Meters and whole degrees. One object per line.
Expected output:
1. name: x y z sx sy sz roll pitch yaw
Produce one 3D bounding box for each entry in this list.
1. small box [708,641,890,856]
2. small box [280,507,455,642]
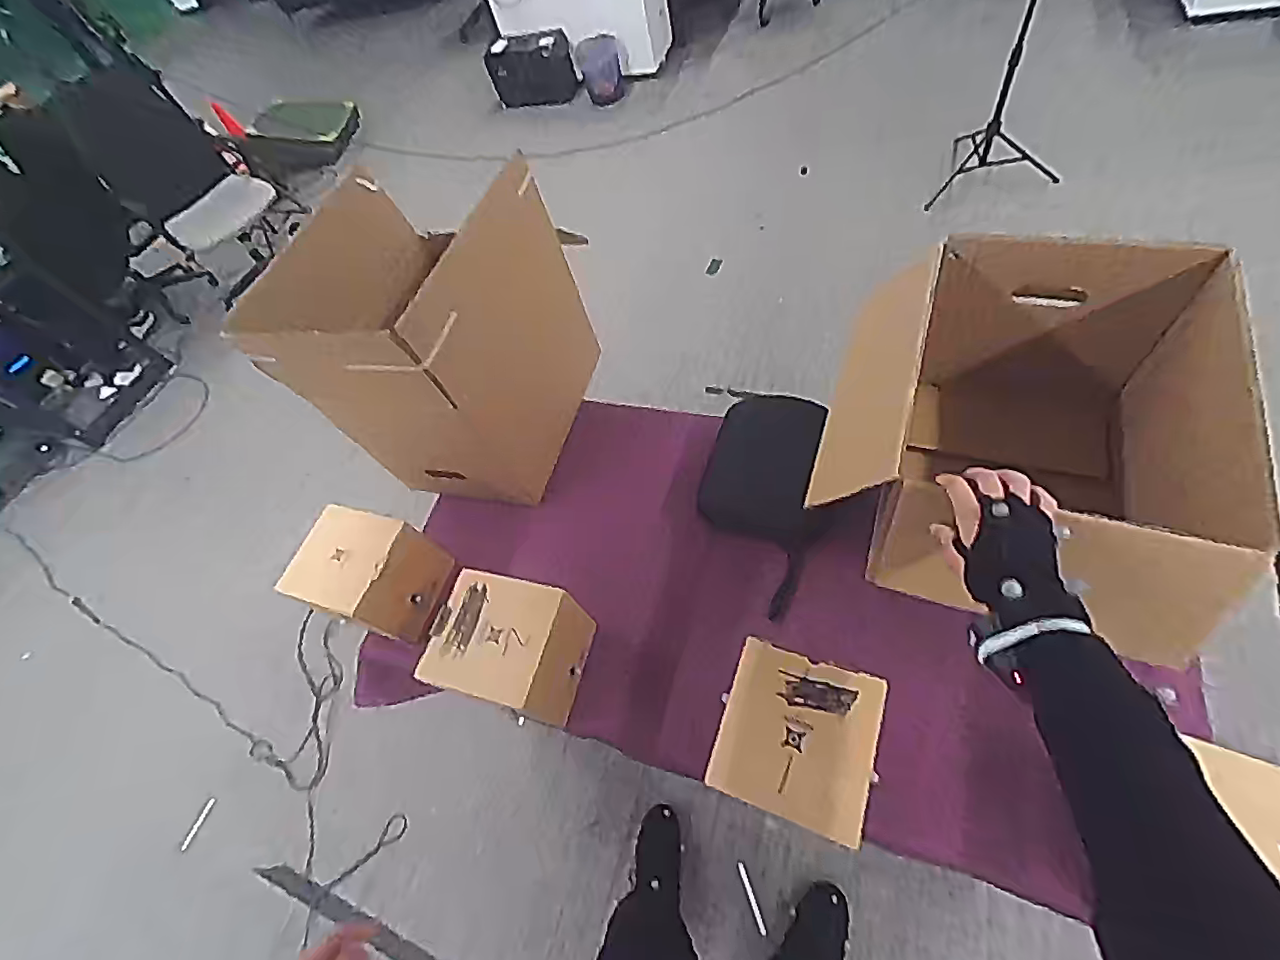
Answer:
1. small box: 0.196 0.330 0.673 0.168 0.176 0.179 13 64 23
2. small box: -0.467 0.170 0.952 0.179 0.176 0.168 10 62 19
